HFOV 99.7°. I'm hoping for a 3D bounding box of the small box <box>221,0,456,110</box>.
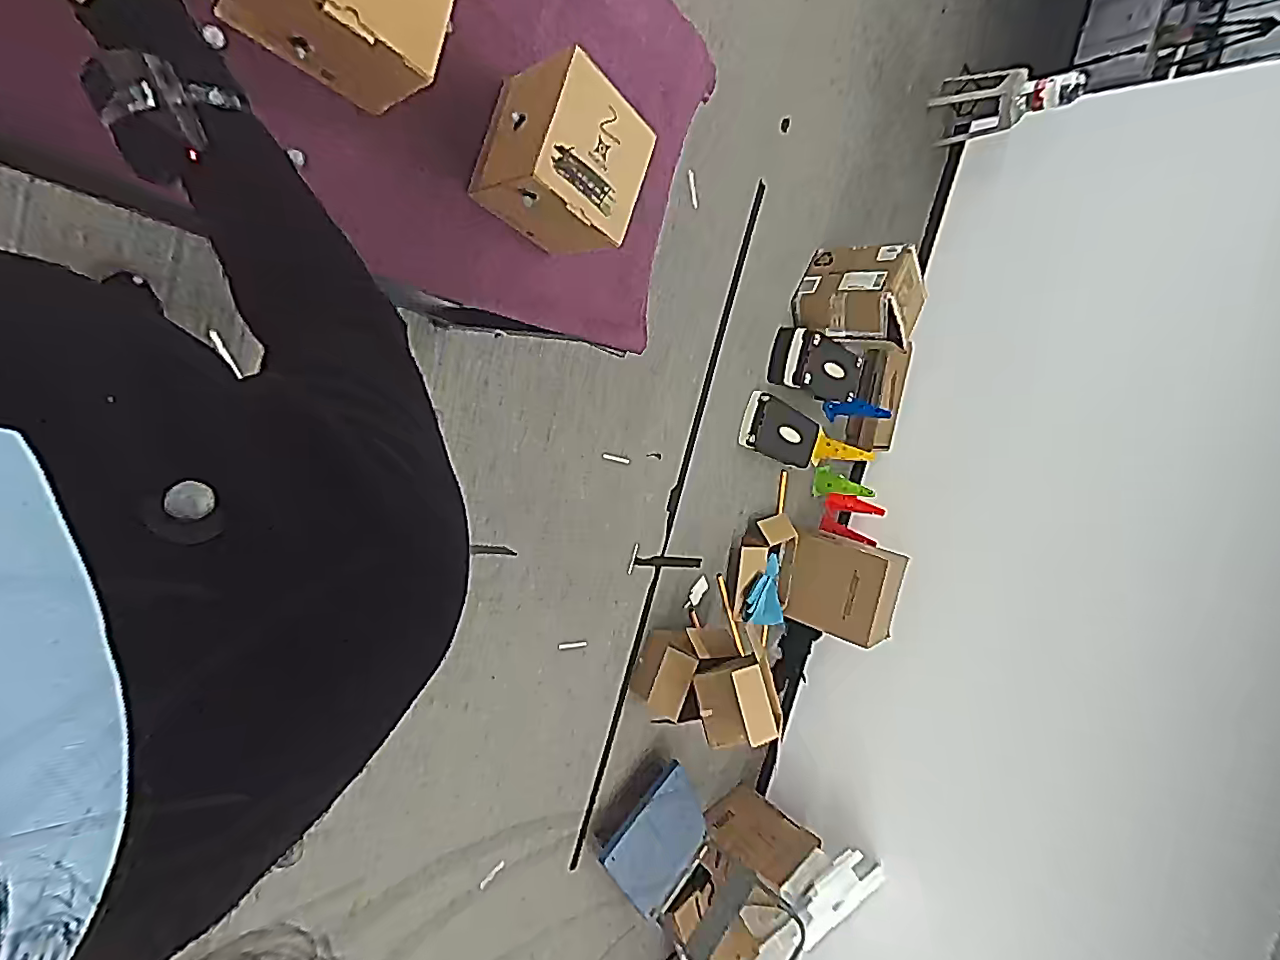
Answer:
[{"bbox_3d":[-0.302,-0.528,0.554,0.168,0.176,0.179,13,94,-49],"label":"small box"}]
